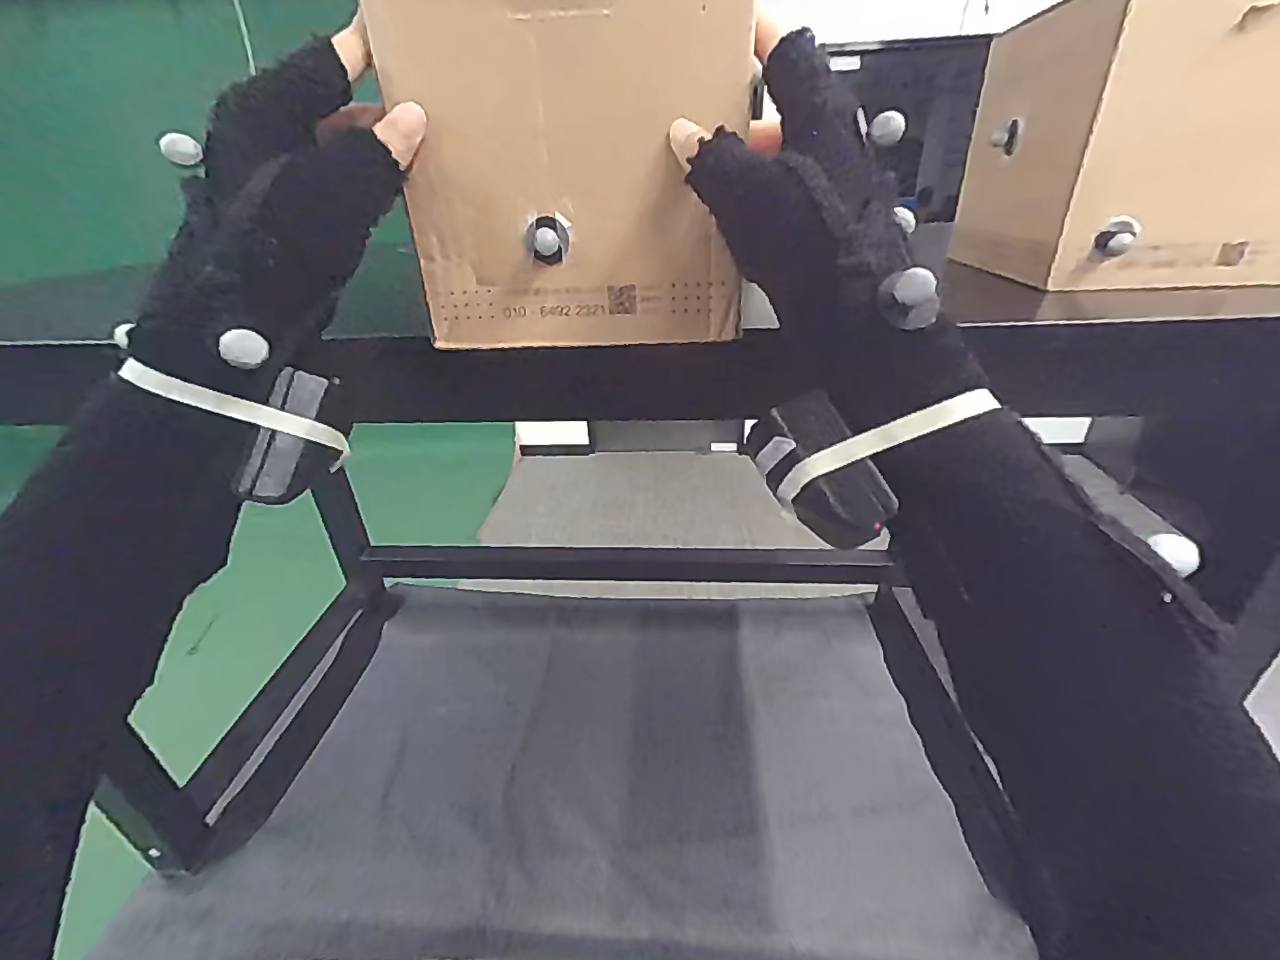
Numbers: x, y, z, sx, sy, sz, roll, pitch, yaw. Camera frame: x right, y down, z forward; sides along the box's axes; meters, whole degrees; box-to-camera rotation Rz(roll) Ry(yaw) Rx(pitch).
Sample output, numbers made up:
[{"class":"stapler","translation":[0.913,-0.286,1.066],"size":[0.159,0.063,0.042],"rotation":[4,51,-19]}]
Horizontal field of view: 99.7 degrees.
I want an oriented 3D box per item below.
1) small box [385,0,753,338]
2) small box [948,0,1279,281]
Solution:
[{"class":"small box","translation":[-0.030,-0.191,0.335],"size":[0.168,0.176,0.179],"rotation":[-2,29,2]},{"class":"small box","translation":[0.354,-0.241,0.393],"size":[0.168,0.176,0.179],"rotation":[1,28,7]}]
